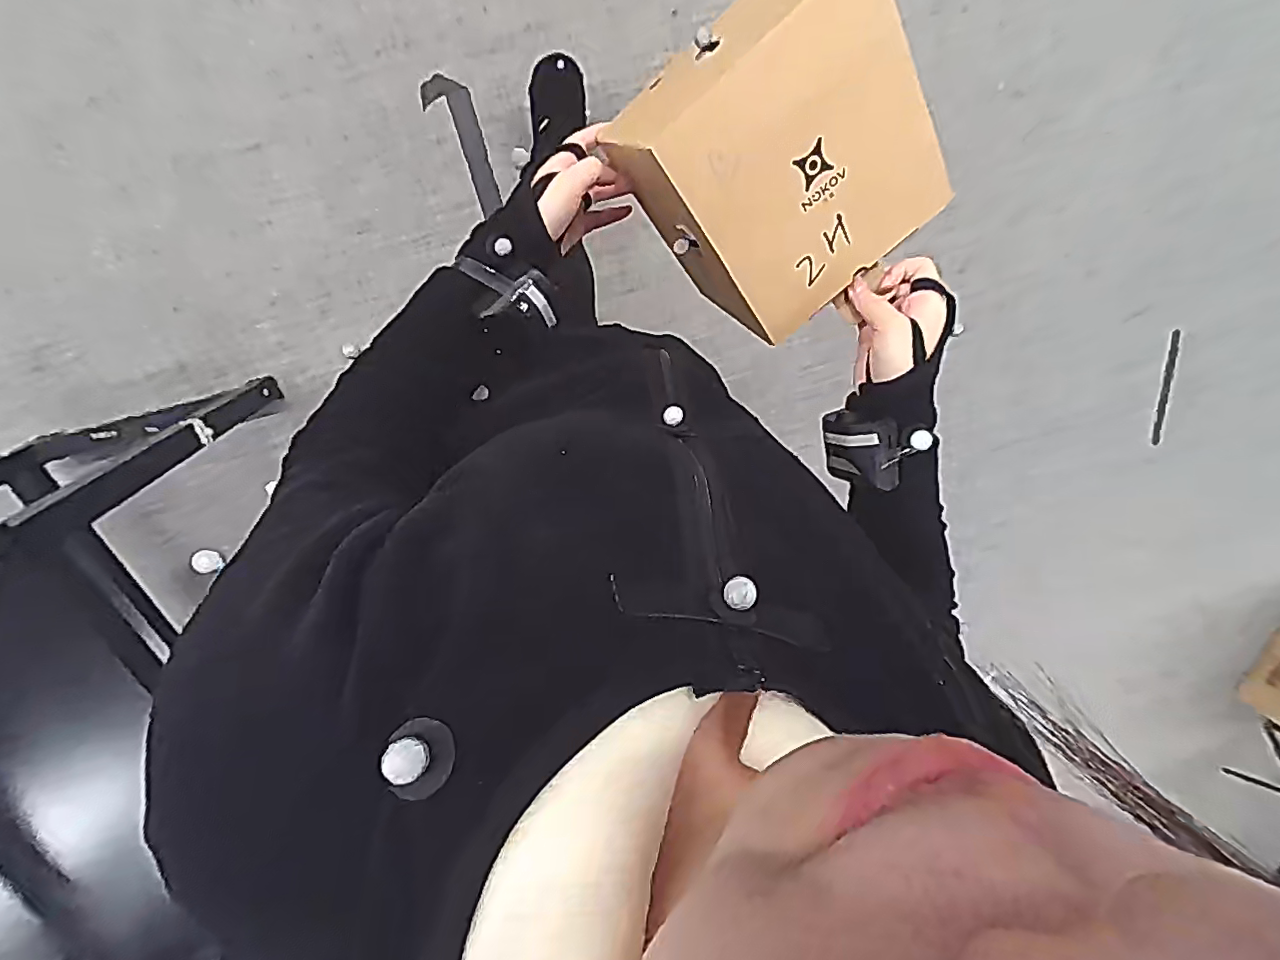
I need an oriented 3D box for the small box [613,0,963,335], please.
[{"bbox_3d":[0.101,-0.250,0.420,0.168,0.176,0.179,-39,126,9],"label":"small box"}]
